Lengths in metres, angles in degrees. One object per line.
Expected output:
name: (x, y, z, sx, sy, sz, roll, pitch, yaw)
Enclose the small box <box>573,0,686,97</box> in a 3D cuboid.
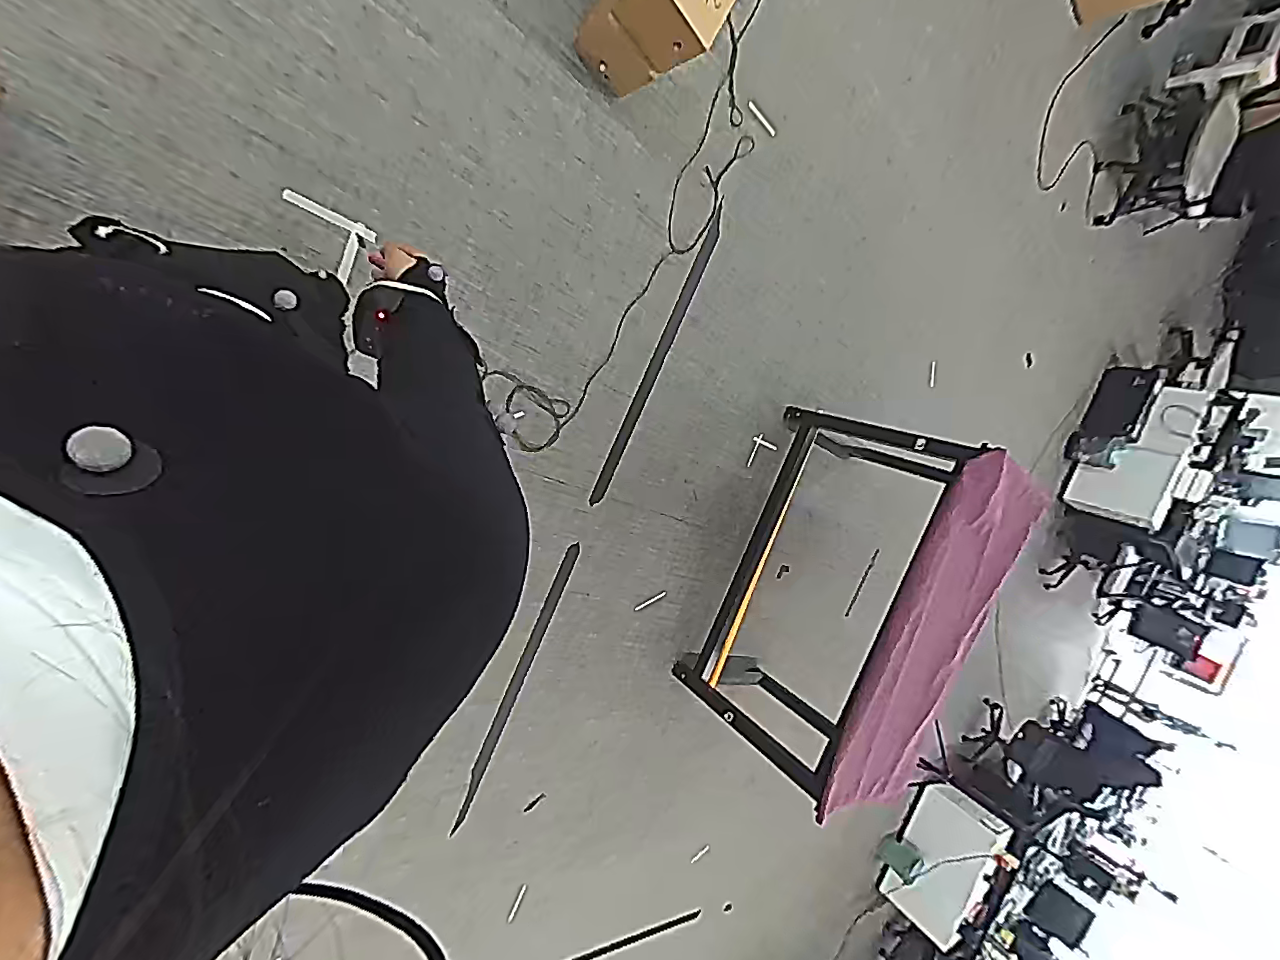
small box: (-0.031, -1.059, 1.278, 0.168, 0.176, 0.179, 30, 89, -40)
